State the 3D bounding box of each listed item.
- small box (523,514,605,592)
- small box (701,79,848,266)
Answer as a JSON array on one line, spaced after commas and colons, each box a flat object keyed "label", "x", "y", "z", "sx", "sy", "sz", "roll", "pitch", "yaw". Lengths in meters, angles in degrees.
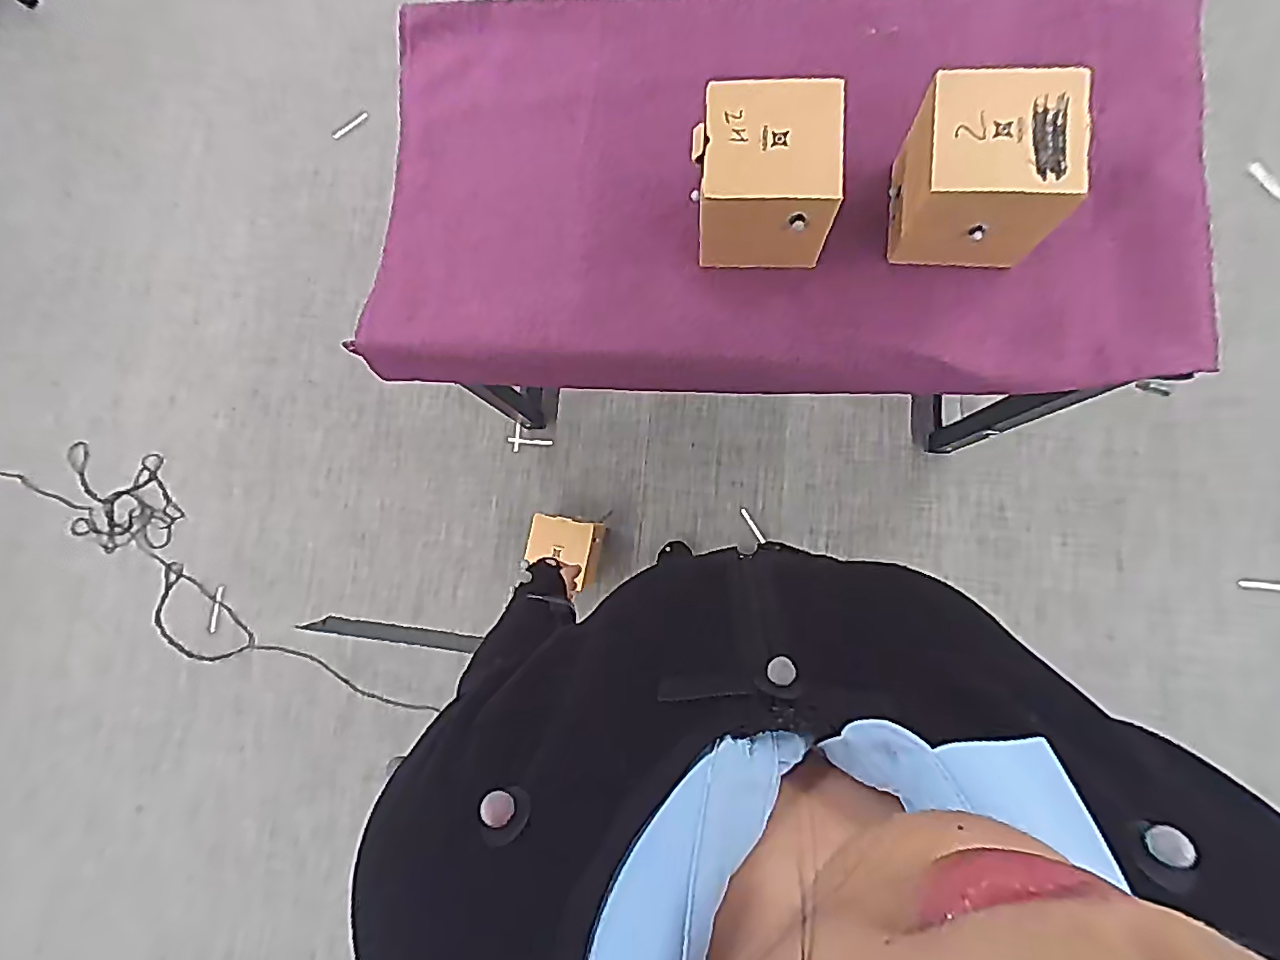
[{"label": "small box", "x": -0.198, "y": 0.195, "z": 1.467, "sx": 0.168, "sy": 0.176, "sz": 0.179, "roll": 10, "pitch": 84, "yaw": 7}, {"label": "small box", "x": 0.179, "y": -0.418, "z": 0.758, "sx": 0.179, "sy": 0.176, "sz": 0.168, "roll": 3, "pitch": 83, "yaw": 7}]
